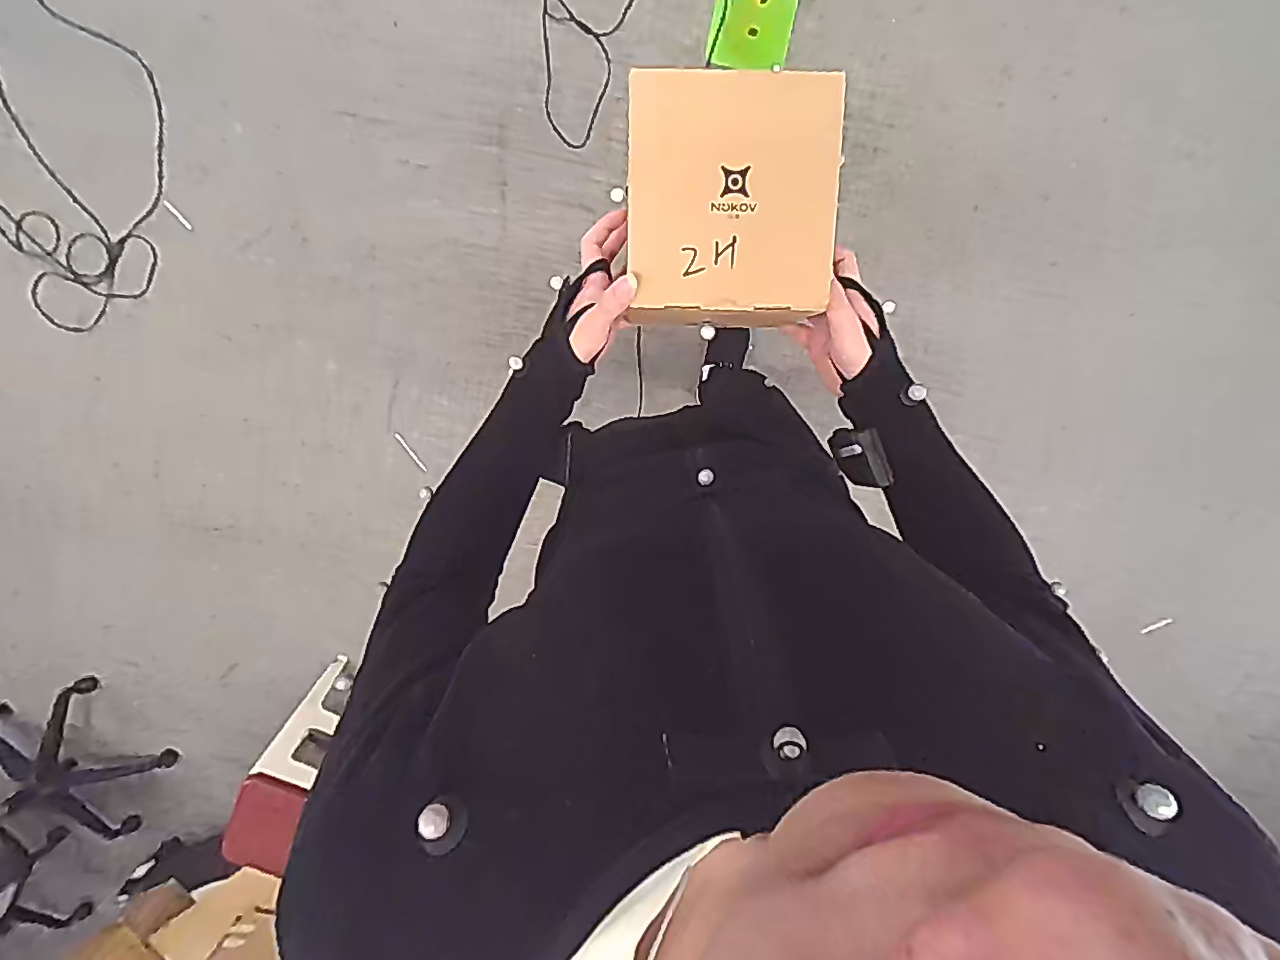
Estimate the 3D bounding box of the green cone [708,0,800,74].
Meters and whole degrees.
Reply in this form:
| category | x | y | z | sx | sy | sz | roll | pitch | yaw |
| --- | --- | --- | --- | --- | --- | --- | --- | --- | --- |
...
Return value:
| category | x | y | z | sx | sy | sz | roll | pitch | yaw |
| --- | --- | --- | --- | --- | --- | --- | --- | --- | --- |
| green cone | 0.277 | -1.097 | 1.176 | 0.202 | 0.368 | 0.200 | 11 | 104 | 0 |

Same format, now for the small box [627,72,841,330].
| category | x | y | z | sx | sy | sz | roll | pitch | yaw |
| --- | --- | --- | --- | --- | --- | --- | --- | --- | --- |
| small box | 0.072 | -0.242 | 0.511 | 0.168 | 0.176 | 0.179 | 1 | 102 | -1 |
